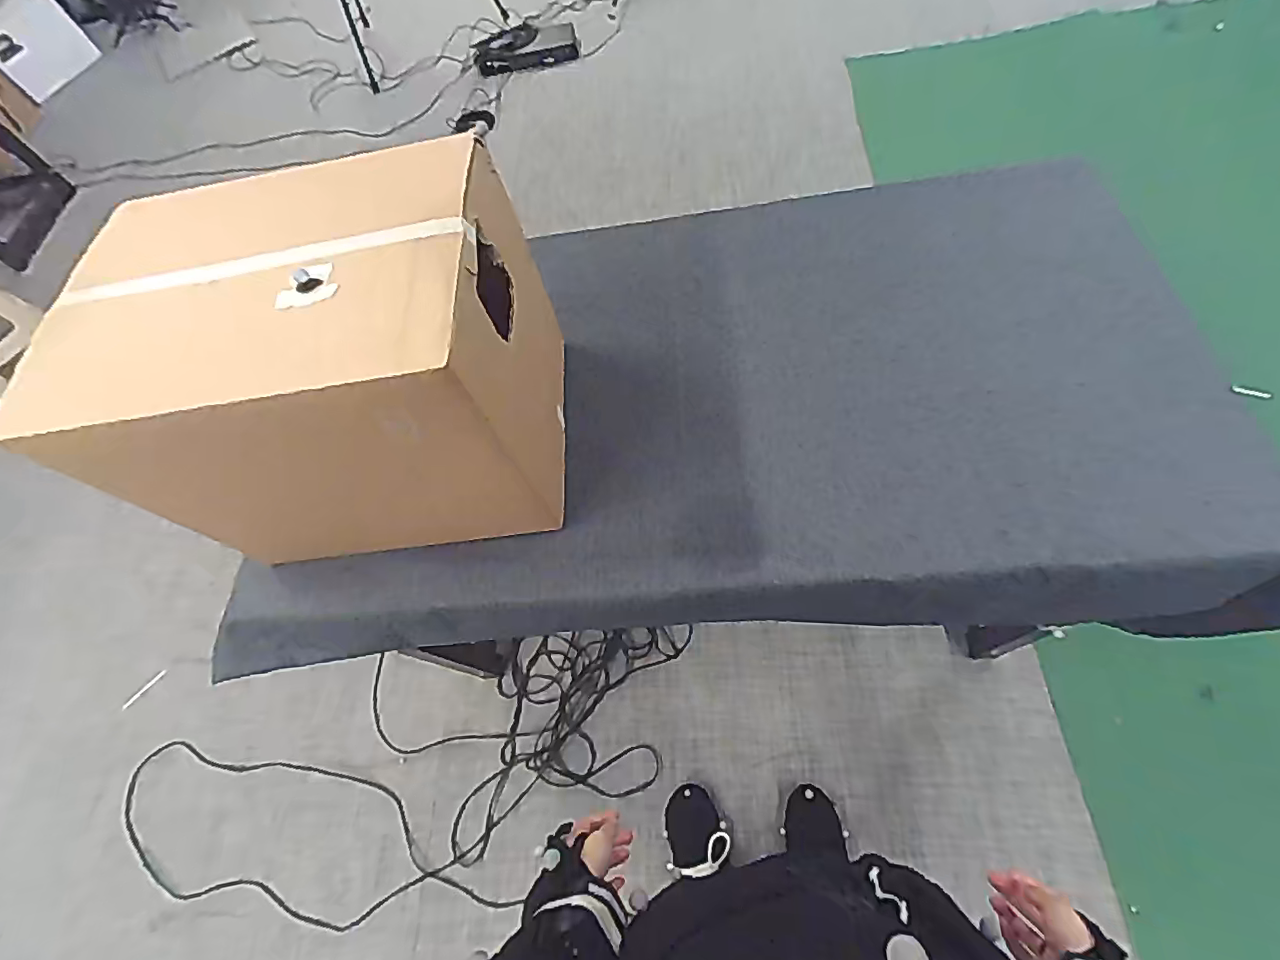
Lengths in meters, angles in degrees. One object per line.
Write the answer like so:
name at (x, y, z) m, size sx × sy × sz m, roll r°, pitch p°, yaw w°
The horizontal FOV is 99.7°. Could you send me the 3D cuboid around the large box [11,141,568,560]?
large box at (-0.315, -0.122, 0.630) m, size 0.408 × 0.320 × 0.320 m, roll -7°, pitch 62°, yaw 5°
